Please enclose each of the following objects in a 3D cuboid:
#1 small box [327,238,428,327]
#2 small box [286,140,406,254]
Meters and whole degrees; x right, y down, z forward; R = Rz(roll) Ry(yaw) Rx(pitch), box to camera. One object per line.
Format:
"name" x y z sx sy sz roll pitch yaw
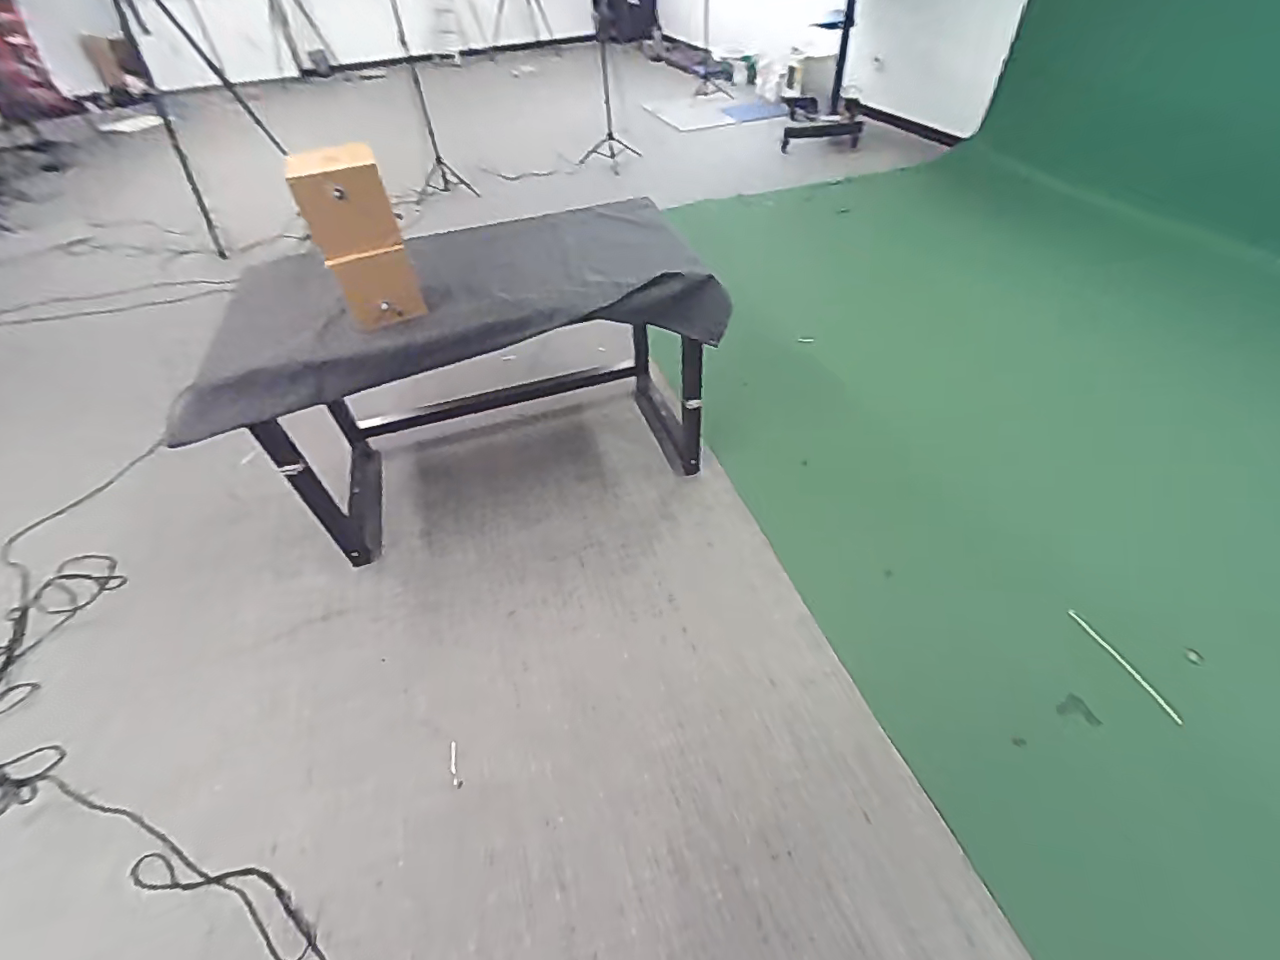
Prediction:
"small box" -0.625 -0.491 1.284 0.168 0.176 0.179 -23 50 -17
"small box" -0.635 -0.614 1.177 0.179 0.176 0.168 -19 49 -15
